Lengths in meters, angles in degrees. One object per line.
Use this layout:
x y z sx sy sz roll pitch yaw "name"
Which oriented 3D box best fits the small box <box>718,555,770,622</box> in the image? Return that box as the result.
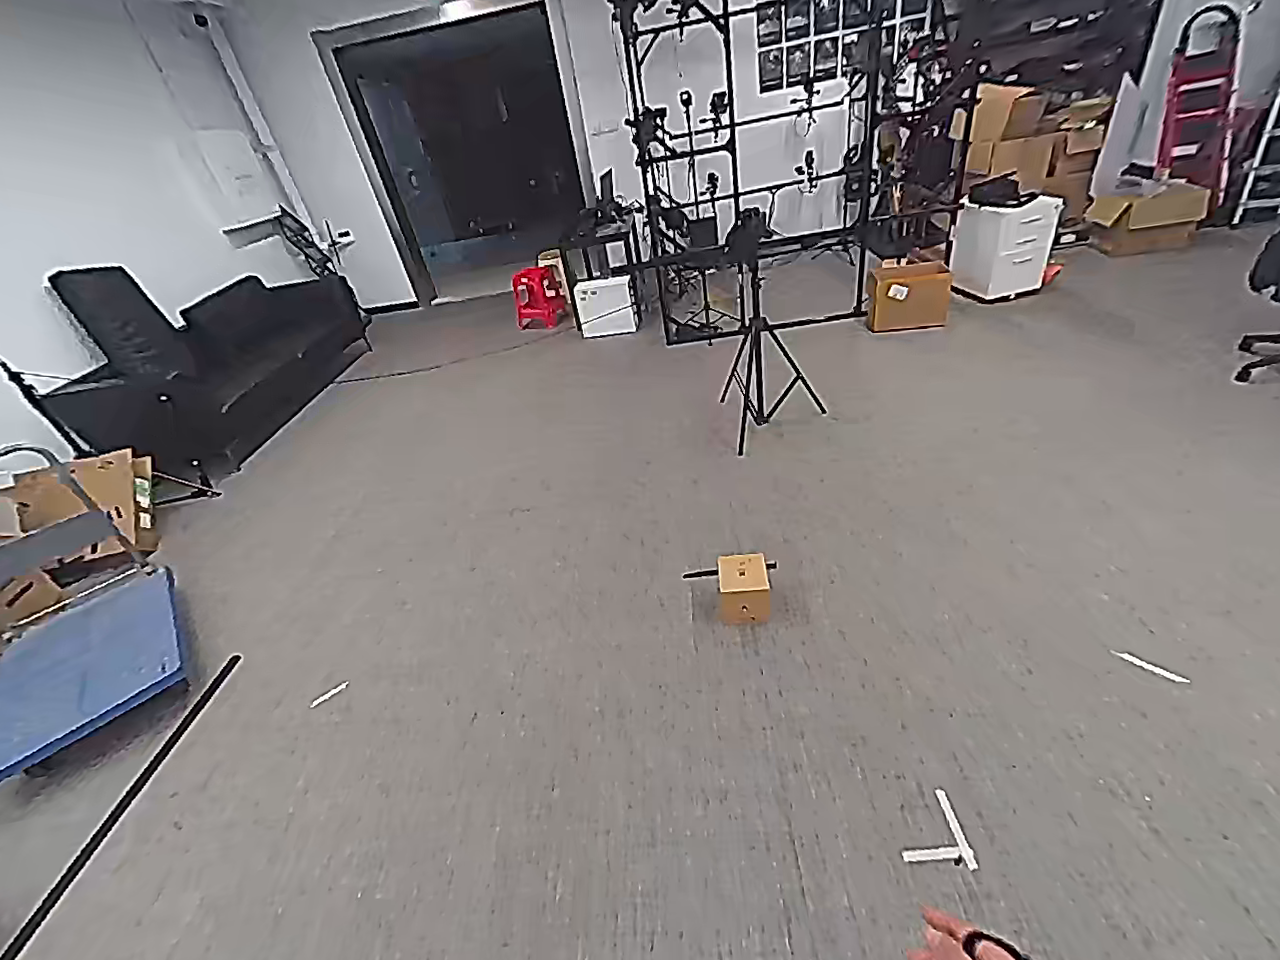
0.368 0.389 1.914 0.168 0.176 0.179 -5 34 9 "small box"
